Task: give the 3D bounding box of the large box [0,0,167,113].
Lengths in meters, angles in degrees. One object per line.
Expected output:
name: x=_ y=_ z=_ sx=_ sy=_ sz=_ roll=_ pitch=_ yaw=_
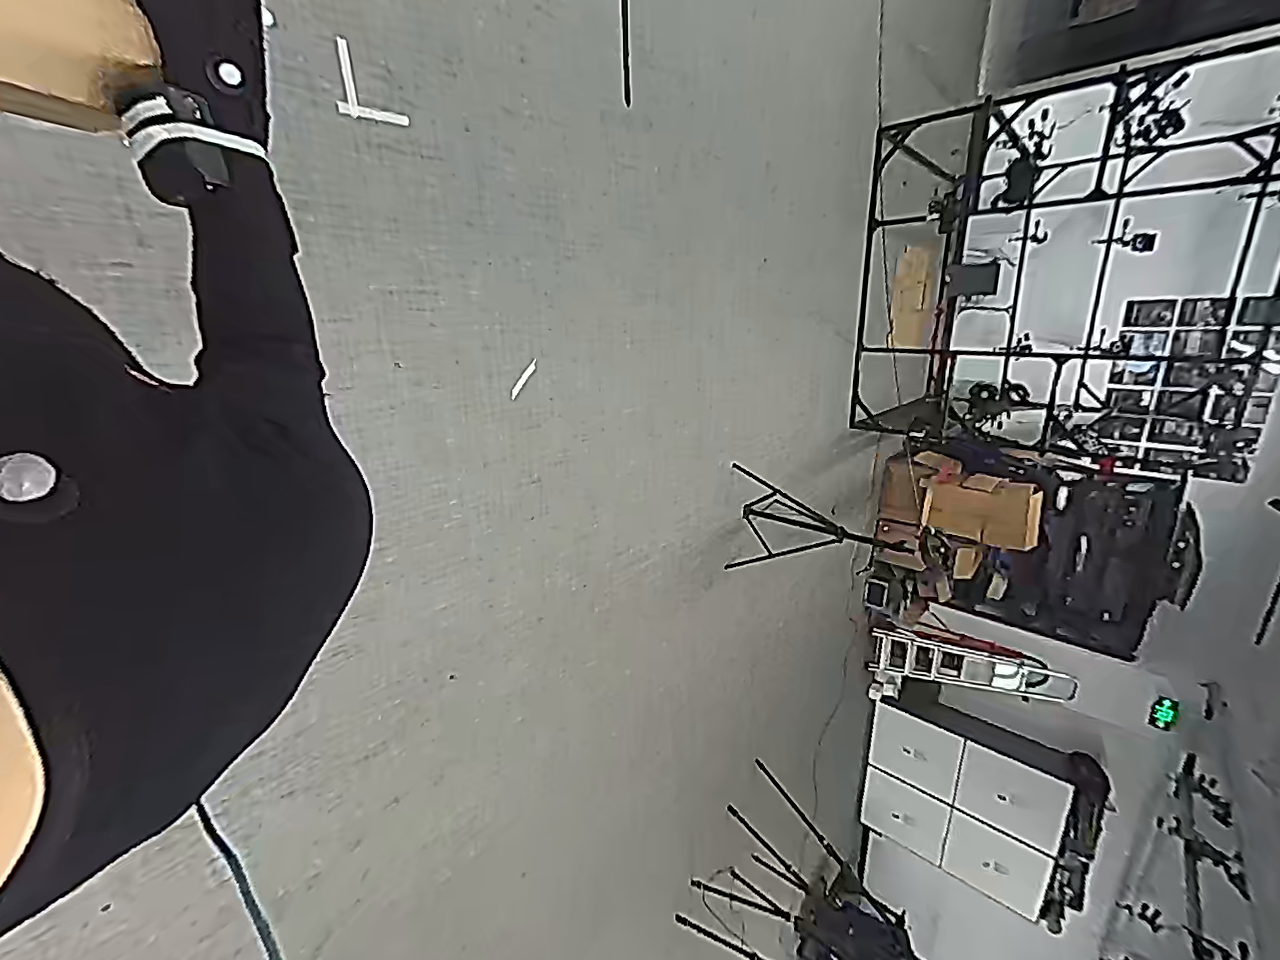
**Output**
large box: x=-0.576 y=-0.443 z=0.292 sx=0.408 sy=0.320 sz=0.320 roll=-15 pitch=123 yaw=-50
